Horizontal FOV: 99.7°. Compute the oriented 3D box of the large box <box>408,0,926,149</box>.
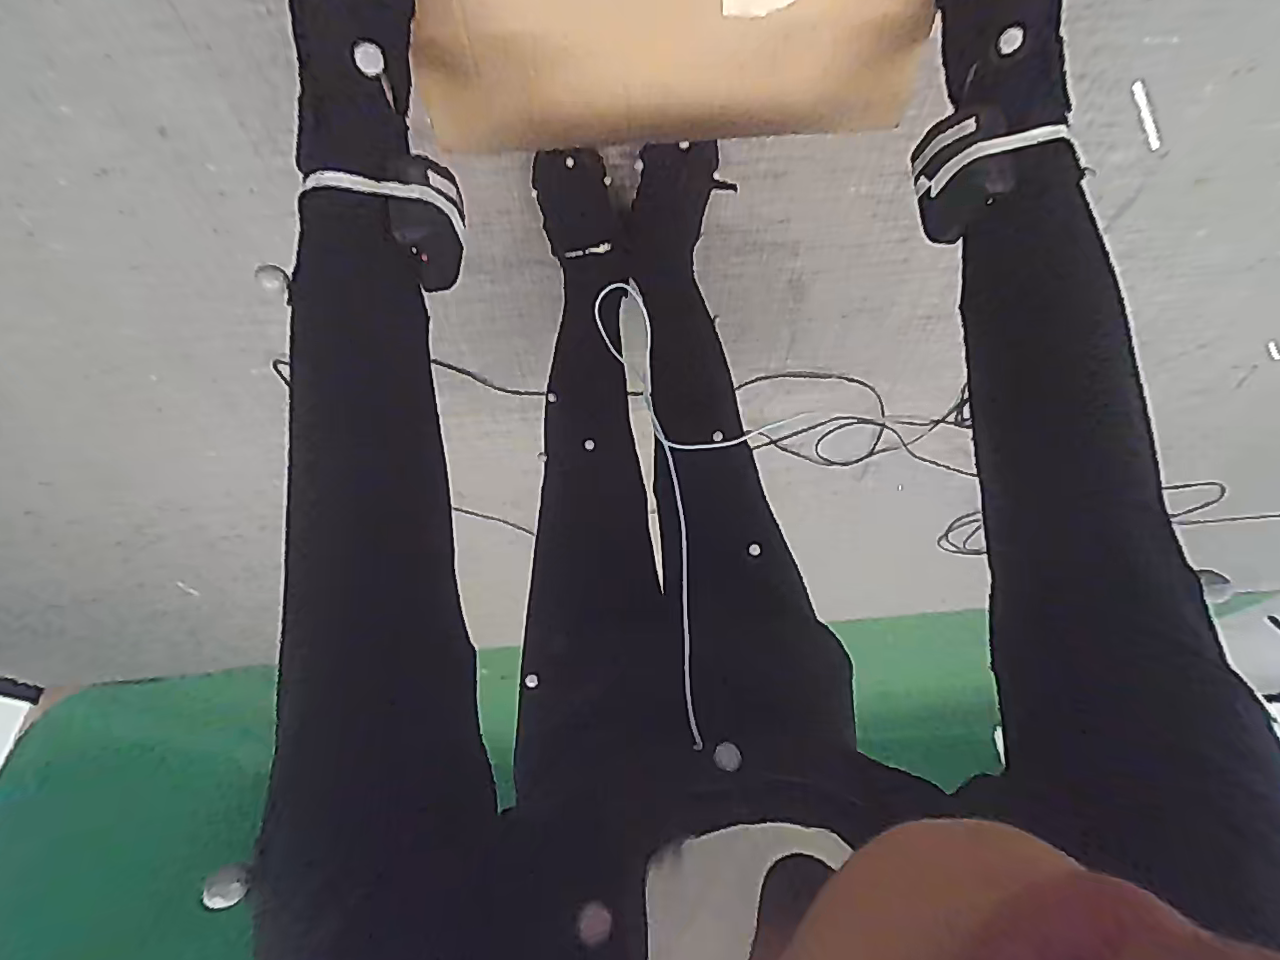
[{"bbox_3d":[0.013,-0.521,0.449,0.408,0.320,0.320,-3,145,1],"label":"large box"}]
